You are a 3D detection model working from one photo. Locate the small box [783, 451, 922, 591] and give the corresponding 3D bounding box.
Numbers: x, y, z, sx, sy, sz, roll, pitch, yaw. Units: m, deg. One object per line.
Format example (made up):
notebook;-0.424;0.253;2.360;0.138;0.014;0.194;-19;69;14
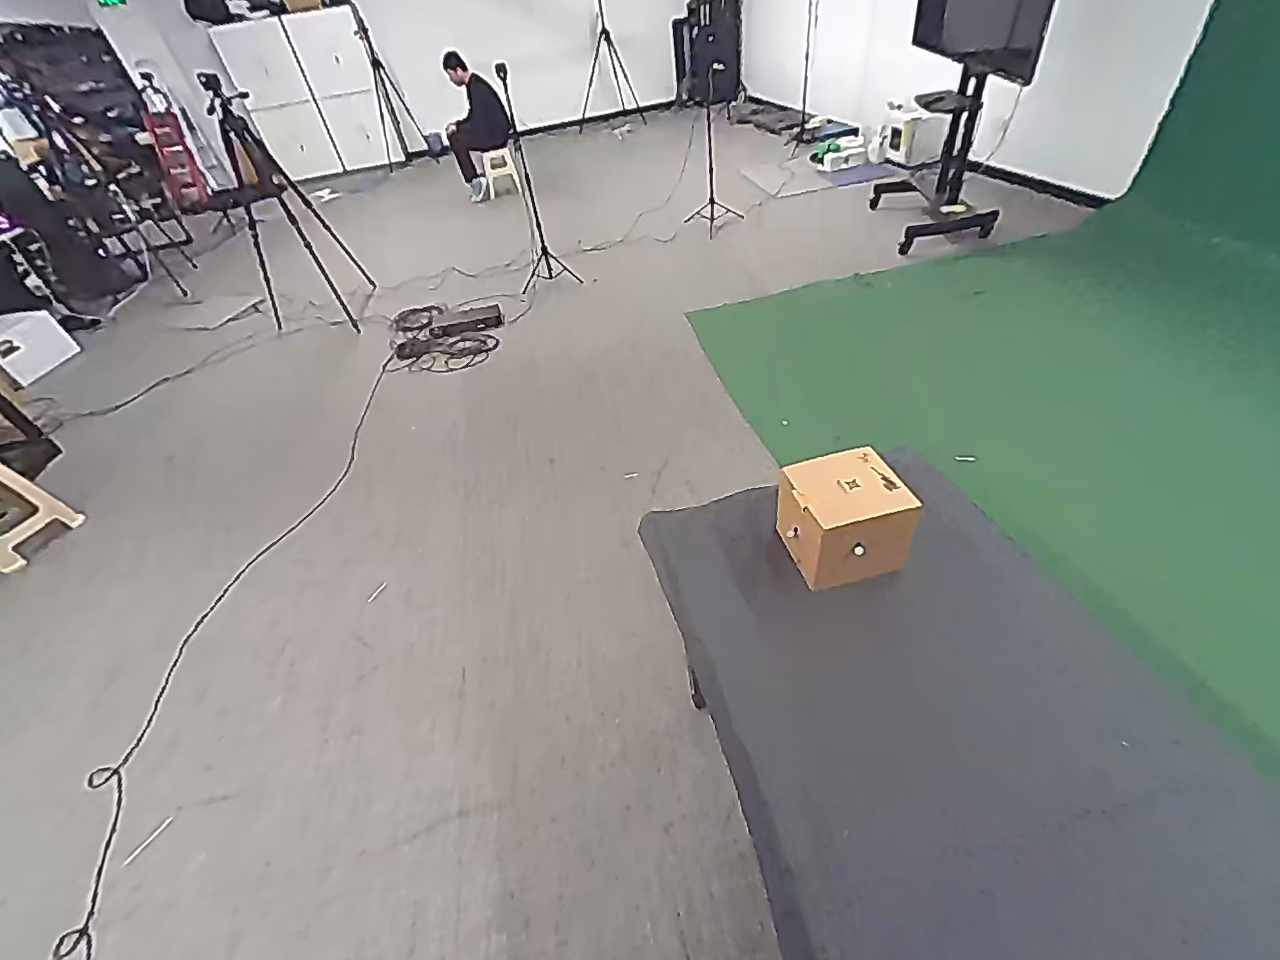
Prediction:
small box;0.372;0.077;0.981;0.179;0.176;0.168;-14;42;-4
